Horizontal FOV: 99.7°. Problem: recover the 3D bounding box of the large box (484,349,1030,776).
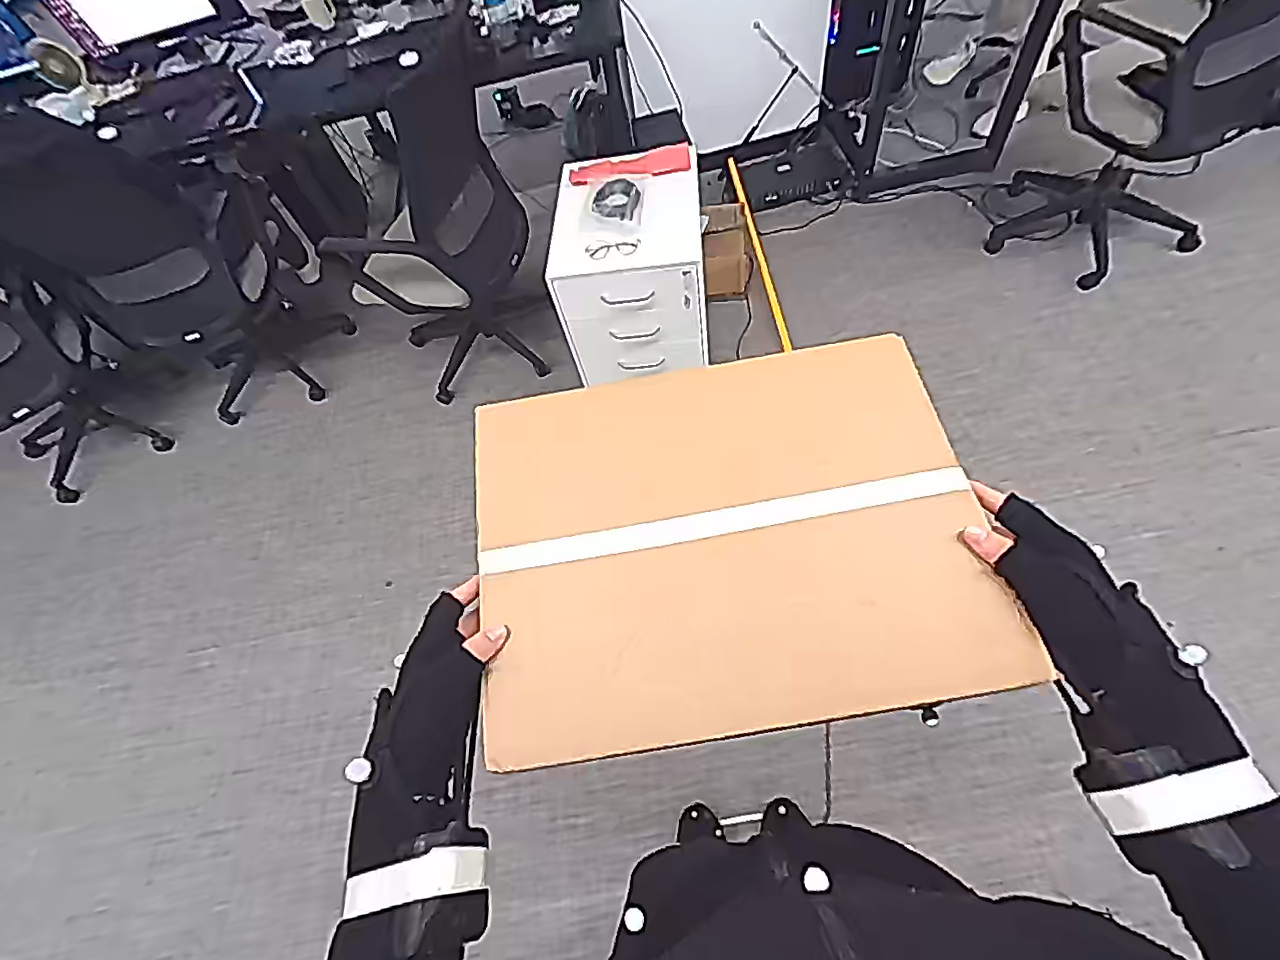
[{"bbox_3d":[0.081,0.105,0.589,0.408,0.320,0.320,-10,64,1],"label":"large box"}]
